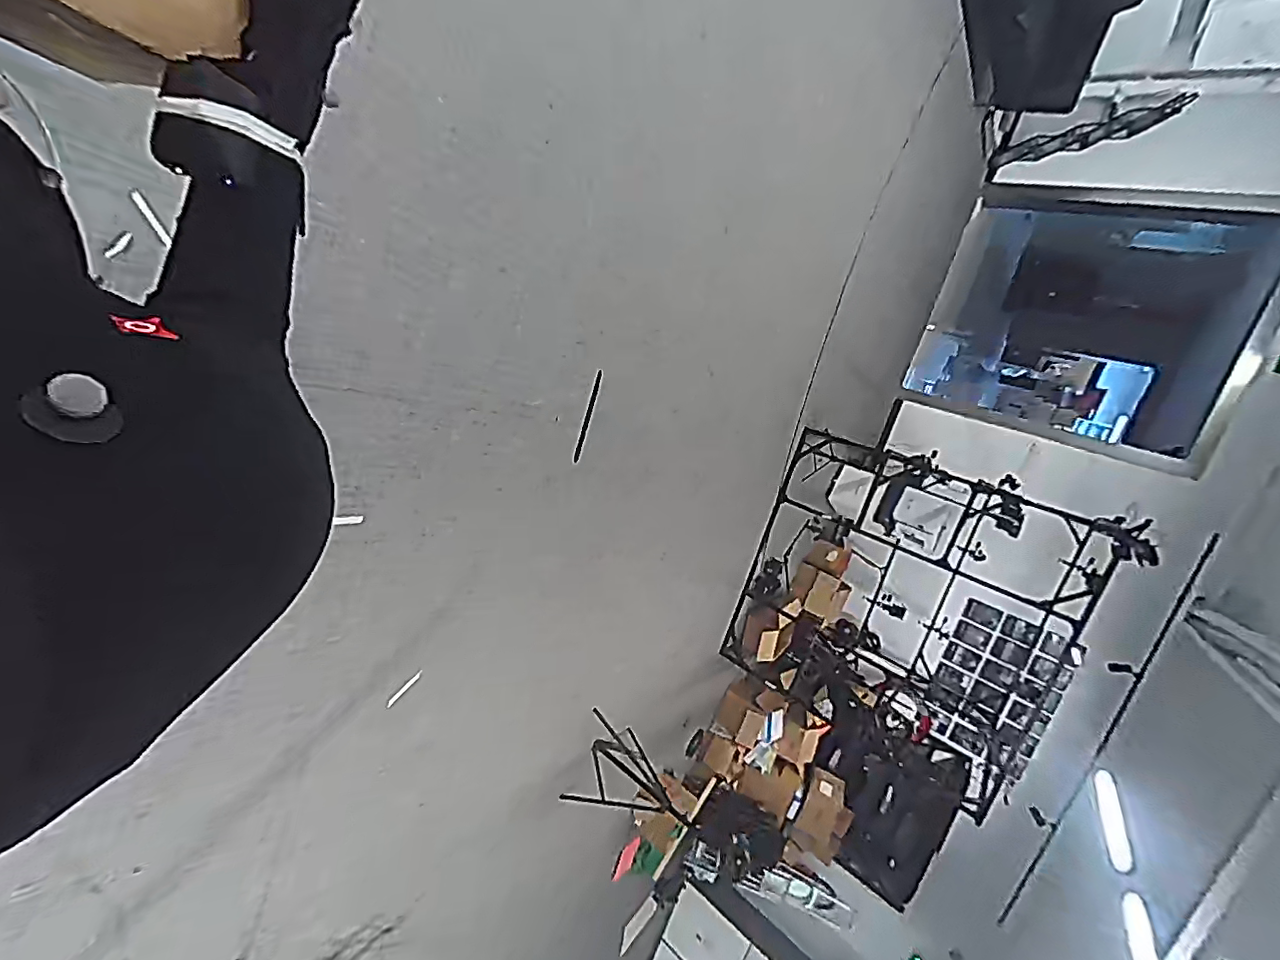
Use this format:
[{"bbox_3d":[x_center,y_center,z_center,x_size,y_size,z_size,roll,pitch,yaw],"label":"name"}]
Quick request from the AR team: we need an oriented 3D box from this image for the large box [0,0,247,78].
[{"bbox_3d":[-0.461,-0.477,0.255,0.408,0.320,0.320,0,113,-59],"label":"large box"}]
